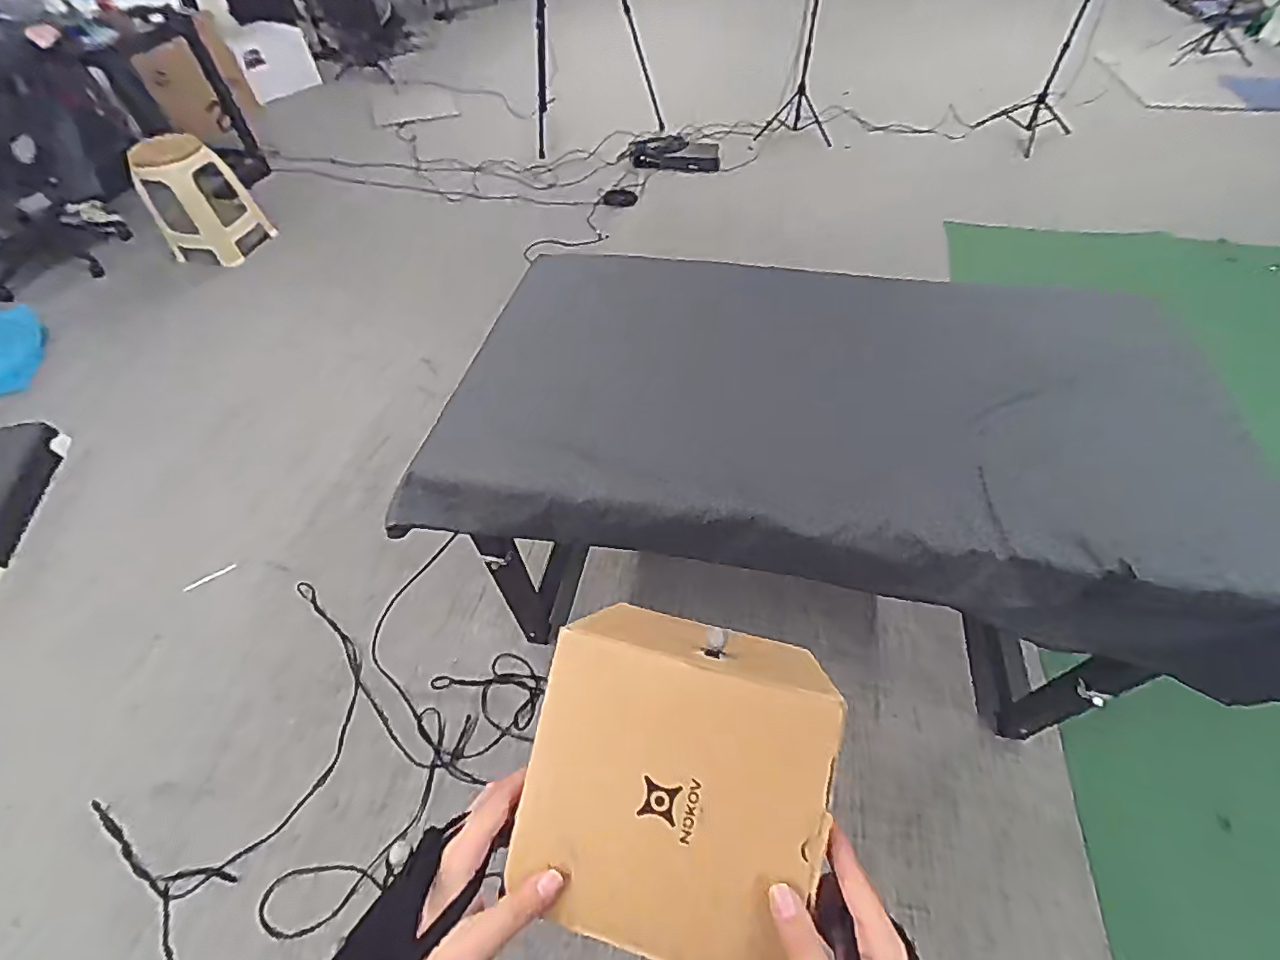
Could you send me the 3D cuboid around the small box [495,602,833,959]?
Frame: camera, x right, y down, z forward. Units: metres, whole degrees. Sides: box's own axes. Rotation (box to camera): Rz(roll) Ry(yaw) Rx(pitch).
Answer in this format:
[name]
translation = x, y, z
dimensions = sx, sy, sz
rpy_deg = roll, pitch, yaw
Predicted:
[small box]
translation = 0.025, 0.191, 0.397
dimensions = 0.179, 0.176, 0.168
rpy_deg = 11, 84, 11
